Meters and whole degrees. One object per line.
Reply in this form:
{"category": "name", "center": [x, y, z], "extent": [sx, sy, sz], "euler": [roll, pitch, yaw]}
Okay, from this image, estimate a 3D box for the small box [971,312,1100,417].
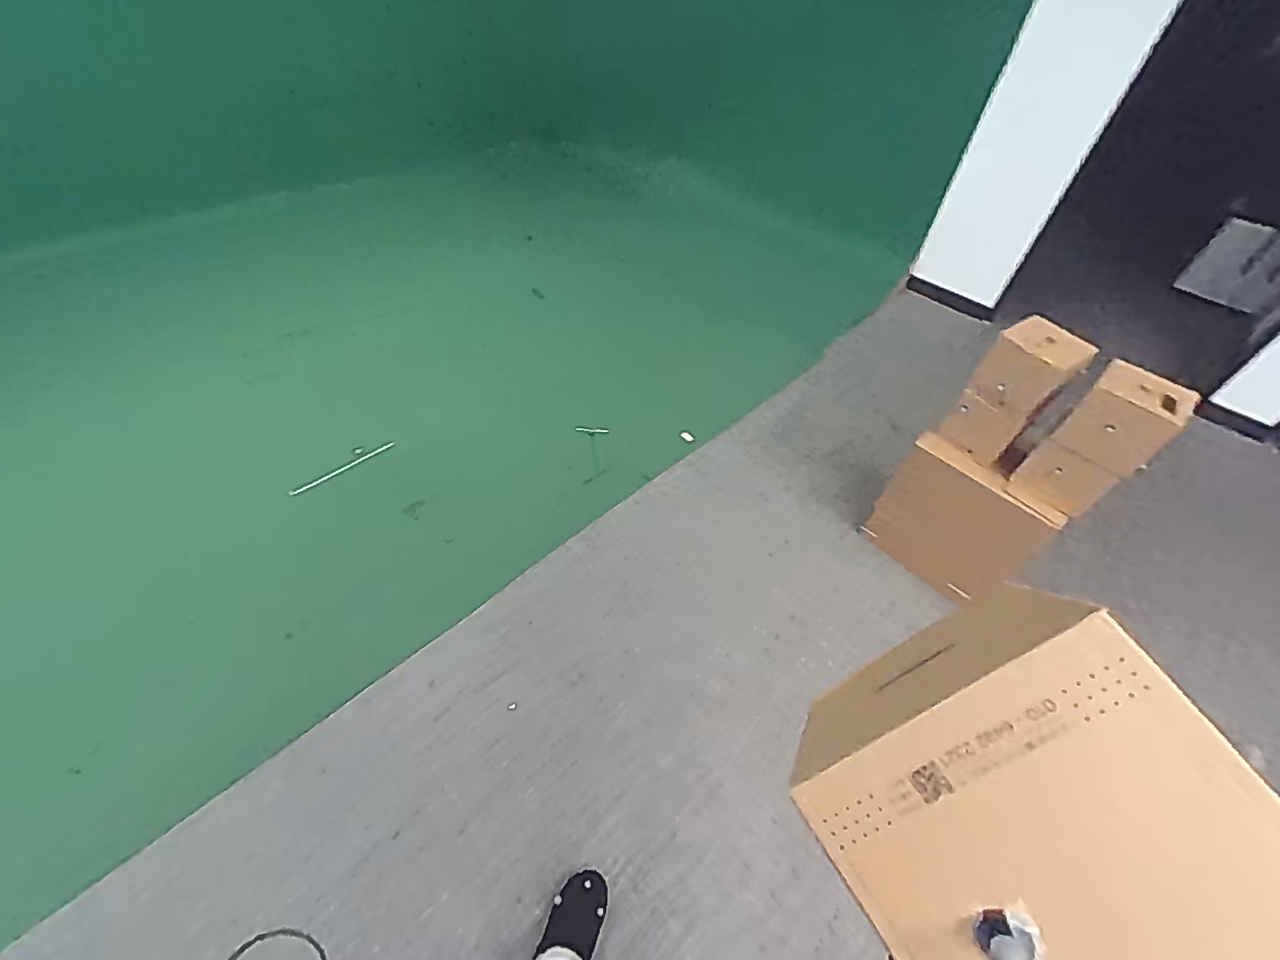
{"category": "small box", "center": [0.986, -0.290, 1.366], "extent": [0.179, 0.176, 0.168], "euler": [-25, 56, -23]}
